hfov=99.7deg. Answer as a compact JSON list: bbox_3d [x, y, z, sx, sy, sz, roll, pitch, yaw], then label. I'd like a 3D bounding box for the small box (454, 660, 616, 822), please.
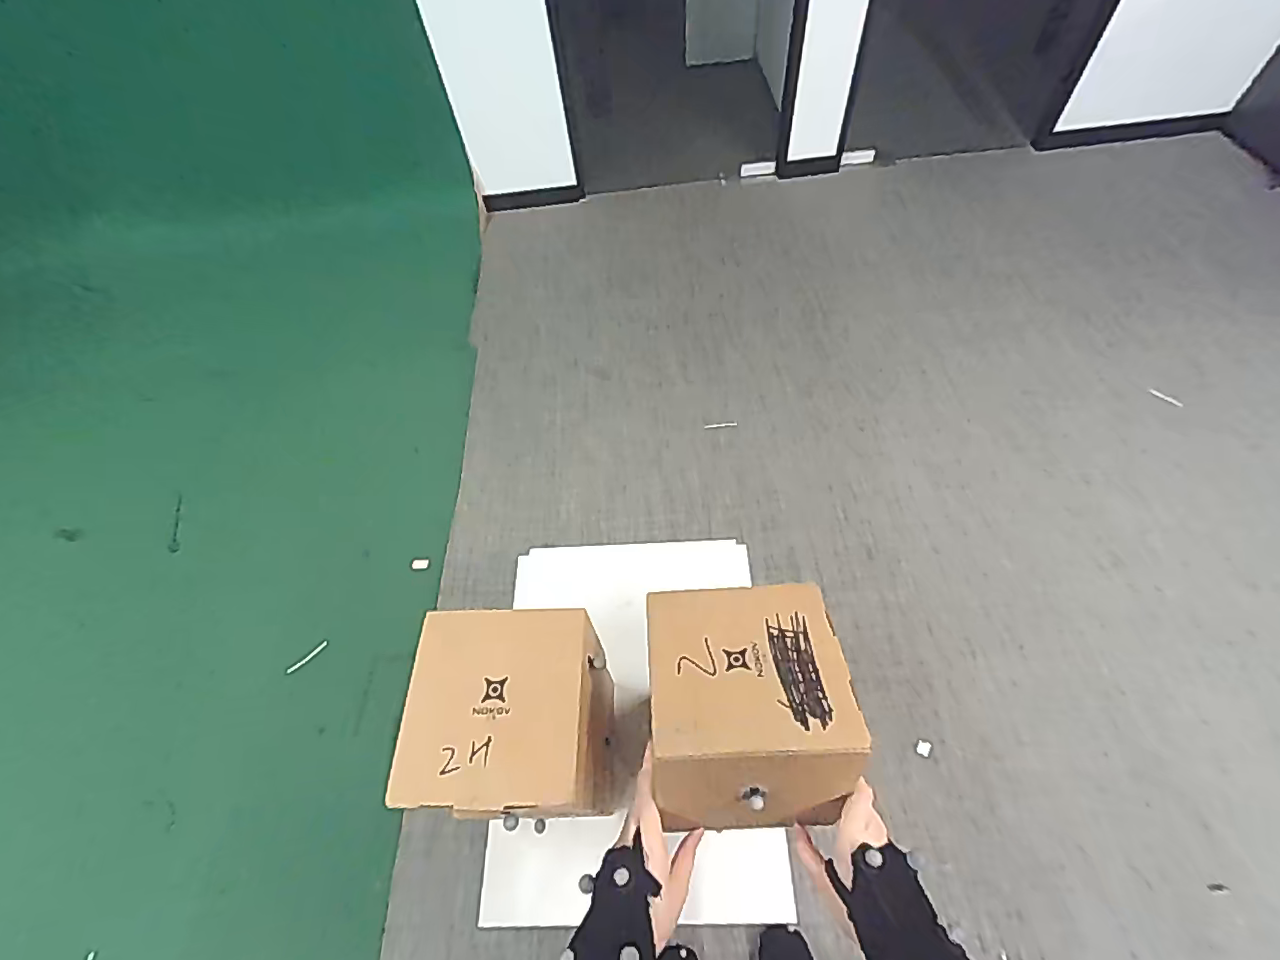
[{"bbox_3d":[-0.123,0.343,0.708,0.168,0.176,0.179,-3,58,3],"label":"small box"}]

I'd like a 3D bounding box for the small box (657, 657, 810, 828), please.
[{"bbox_3d":[0.108,0.337,0.690,0.168,0.176,0.179,-2,57,5],"label":"small box"}]

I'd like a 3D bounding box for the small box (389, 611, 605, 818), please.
[{"bbox_3d":[-0.130,0.251,0.572,0.168,0.176,0.179,-2,57,3],"label":"small box"}]
